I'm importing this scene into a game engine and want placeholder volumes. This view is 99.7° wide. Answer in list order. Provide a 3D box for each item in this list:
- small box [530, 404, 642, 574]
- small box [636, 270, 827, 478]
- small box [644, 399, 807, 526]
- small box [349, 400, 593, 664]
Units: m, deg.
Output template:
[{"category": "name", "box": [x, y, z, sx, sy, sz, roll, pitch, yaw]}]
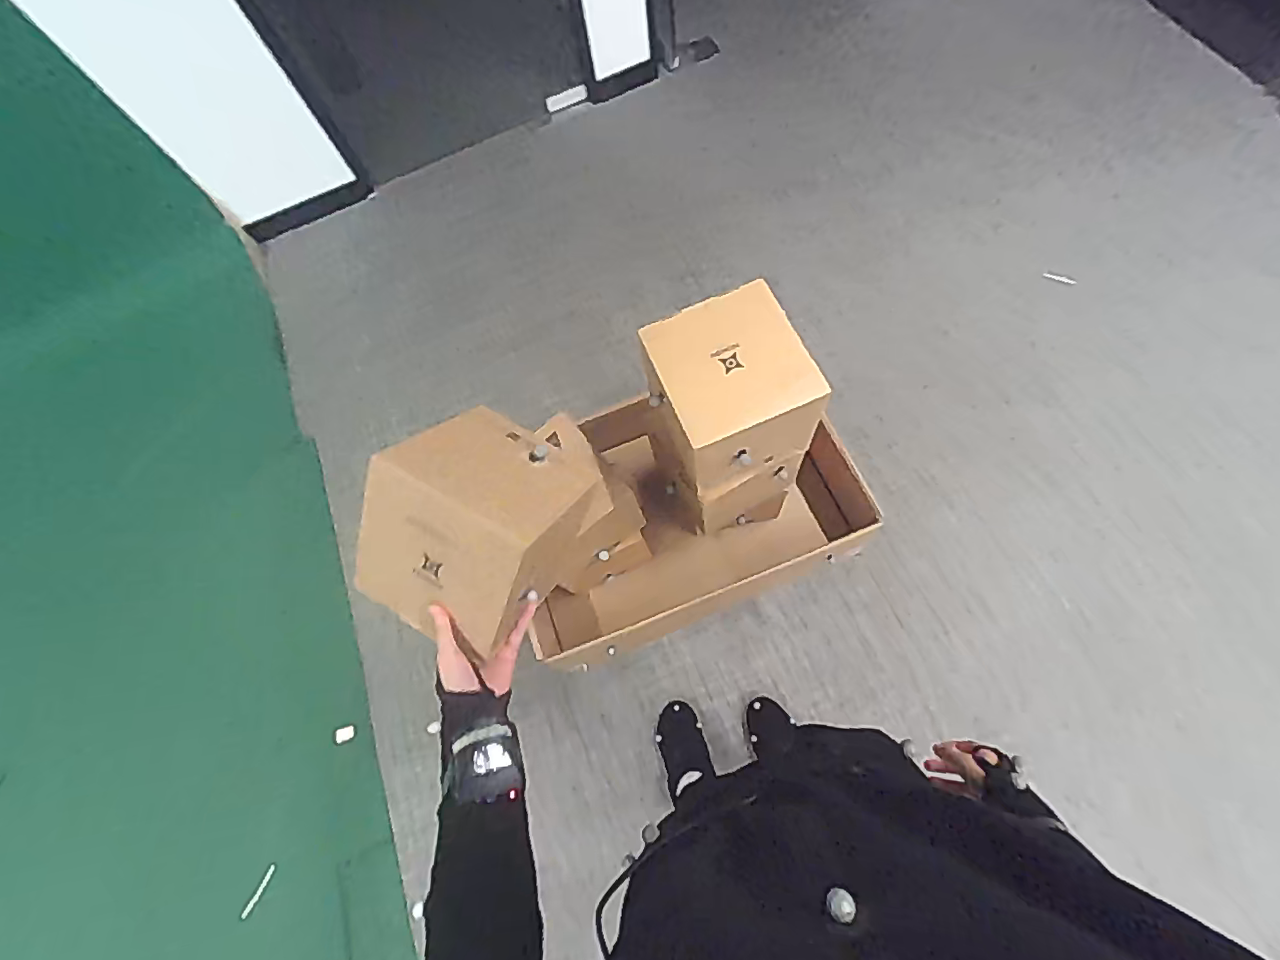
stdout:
[{"category": "small box", "box": [-0.117, 0.022, 0.833, 0.168, 0.176, 0.179, -39, 71, -6]}, {"category": "small box", "box": [0.111, -0.118, 0.684, 0.168, 0.176, 0.179, -23, 68, 0]}, {"category": "small box", "box": [0.126, -0.054, 0.833, 0.179, 0.176, 0.168, -30, 68, -3]}, {"category": "small box", "box": [-0.170, 0.045, 0.566, 0.168, 0.179, 0.176, 29, 33, 6]}]
